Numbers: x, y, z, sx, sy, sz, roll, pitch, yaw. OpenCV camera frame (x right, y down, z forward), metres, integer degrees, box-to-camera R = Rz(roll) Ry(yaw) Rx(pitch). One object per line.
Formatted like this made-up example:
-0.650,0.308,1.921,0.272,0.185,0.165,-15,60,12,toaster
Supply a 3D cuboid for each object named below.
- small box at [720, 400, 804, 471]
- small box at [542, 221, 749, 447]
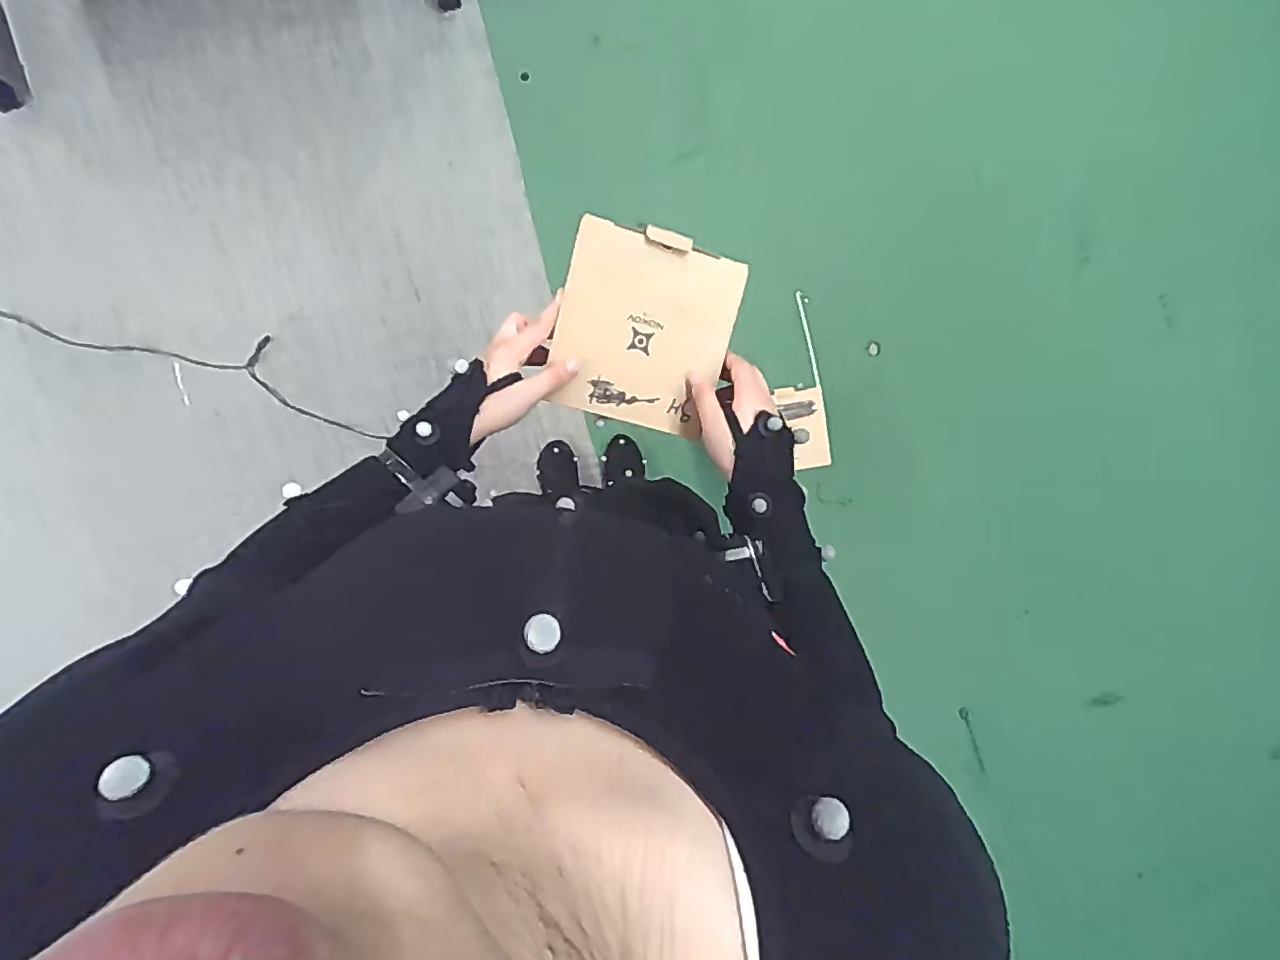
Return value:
0.314,-0.113,1.426,0.179,0.176,0.168,-7,94,-4,small box
-0.003,-0.150,0.594,0.168,0.176,0.179,15,100,-8,small box
